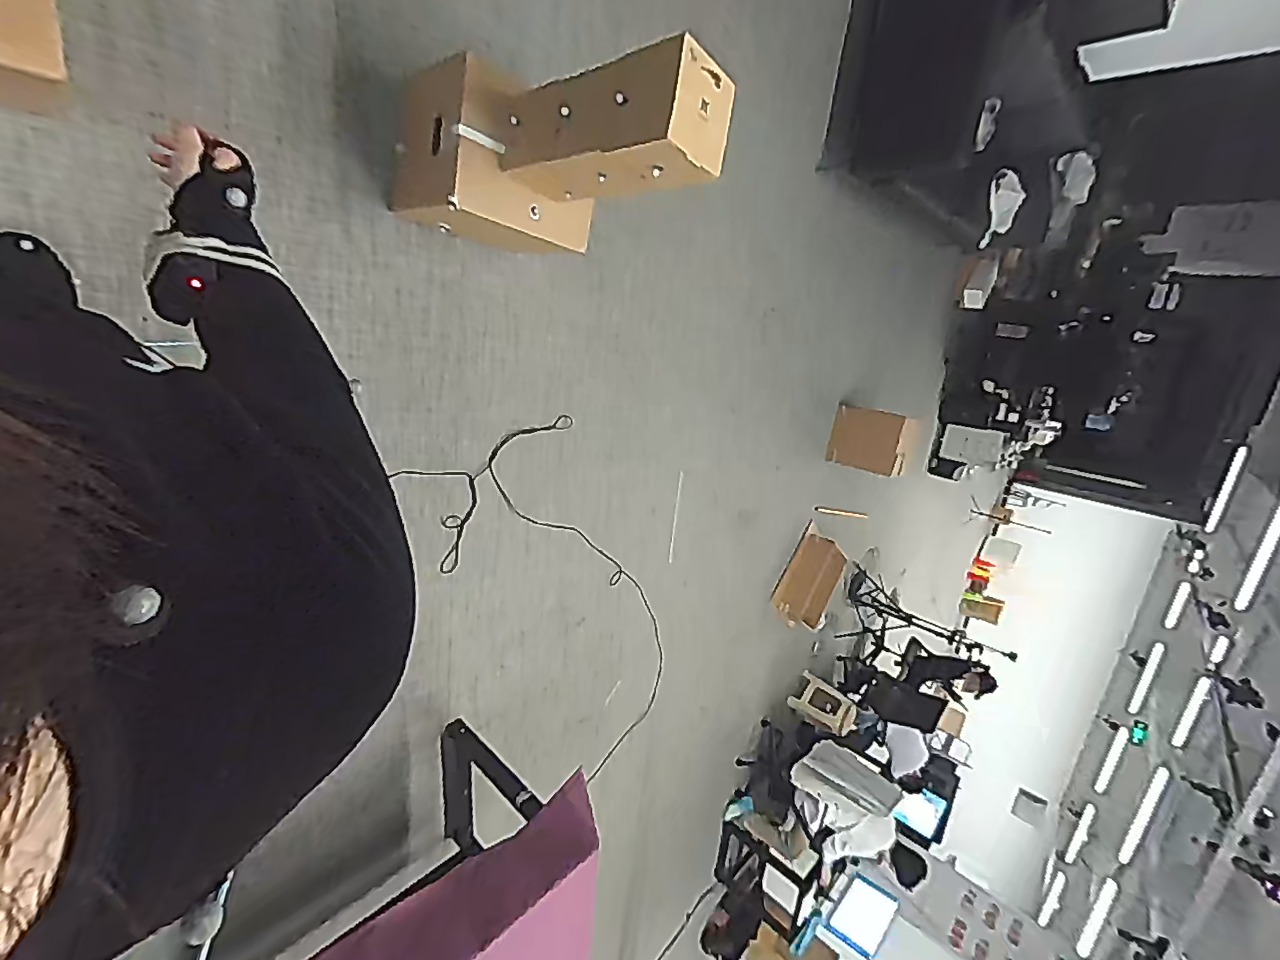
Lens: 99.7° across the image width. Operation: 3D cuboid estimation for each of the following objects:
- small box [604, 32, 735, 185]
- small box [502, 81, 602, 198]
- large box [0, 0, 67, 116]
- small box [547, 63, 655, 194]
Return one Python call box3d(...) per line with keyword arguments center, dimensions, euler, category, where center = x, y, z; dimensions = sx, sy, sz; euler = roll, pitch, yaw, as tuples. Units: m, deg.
box3d(center=(0.052, -0.690, 1.034), dimensions=(0.168, 0.176, 0.179), euler=(2, 102, -50), category="small box")
box3d(center=(-0.188, -0.769, 1.243), dimensions=(0.179, 0.176, 0.168), euler=(2, 102, -49), category="small box")
box3d(center=(-1.005, -0.765, 0.695), dimensions=(0.320, 0.320, 0.408), euler=(-12, 113, -46), category="large box")
box3d(center=(-0.067, -0.726, 1.141), dimensions=(0.179, 0.176, 0.168), euler=(4, 100, -49), category="small box")
